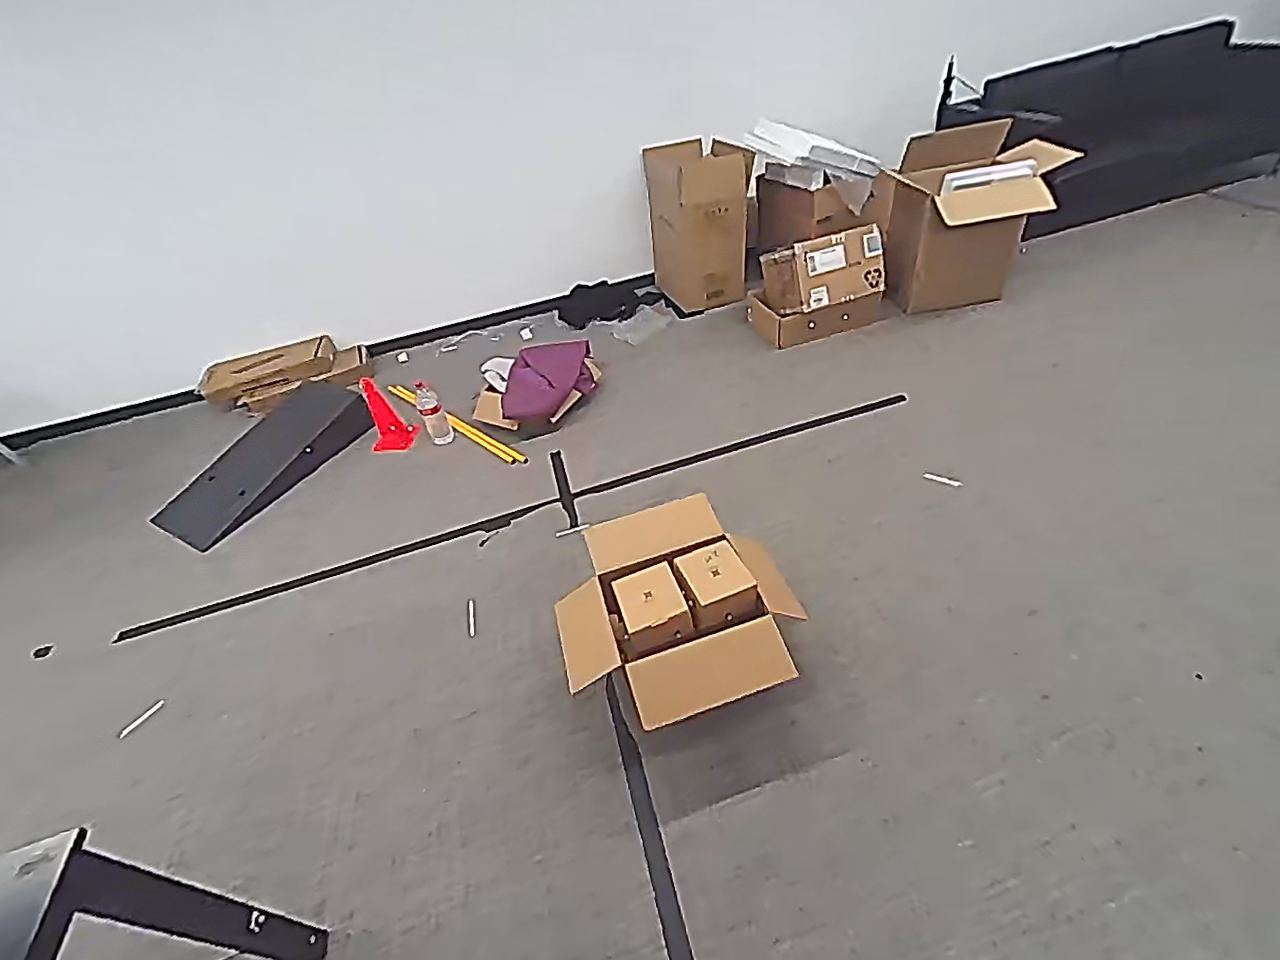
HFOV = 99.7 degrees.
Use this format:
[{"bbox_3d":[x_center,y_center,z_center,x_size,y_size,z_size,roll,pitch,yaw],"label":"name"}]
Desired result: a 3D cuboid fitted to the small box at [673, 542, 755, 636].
[{"bbox_3d":[0.204,0.310,1.503,0.168,0.176,0.179,-18,42,-14],"label":"small box"}]
